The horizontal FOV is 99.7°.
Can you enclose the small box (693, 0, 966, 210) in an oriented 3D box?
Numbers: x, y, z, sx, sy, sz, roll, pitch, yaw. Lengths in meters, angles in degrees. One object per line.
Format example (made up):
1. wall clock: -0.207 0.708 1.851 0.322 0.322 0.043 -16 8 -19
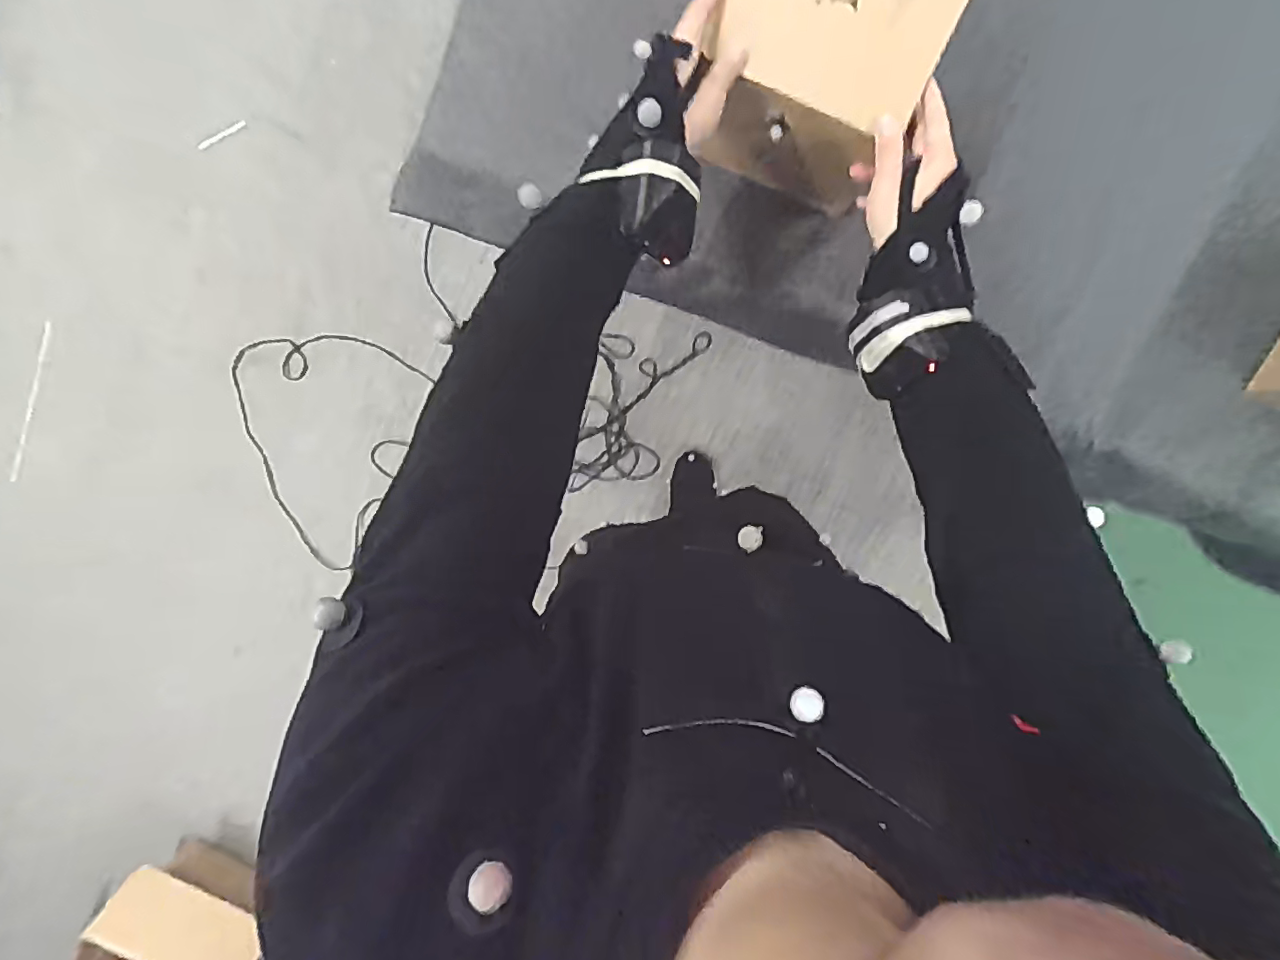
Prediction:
1. small box: 0.156 -0.374 0.484 0.179 0.176 0.168 24 98 0
